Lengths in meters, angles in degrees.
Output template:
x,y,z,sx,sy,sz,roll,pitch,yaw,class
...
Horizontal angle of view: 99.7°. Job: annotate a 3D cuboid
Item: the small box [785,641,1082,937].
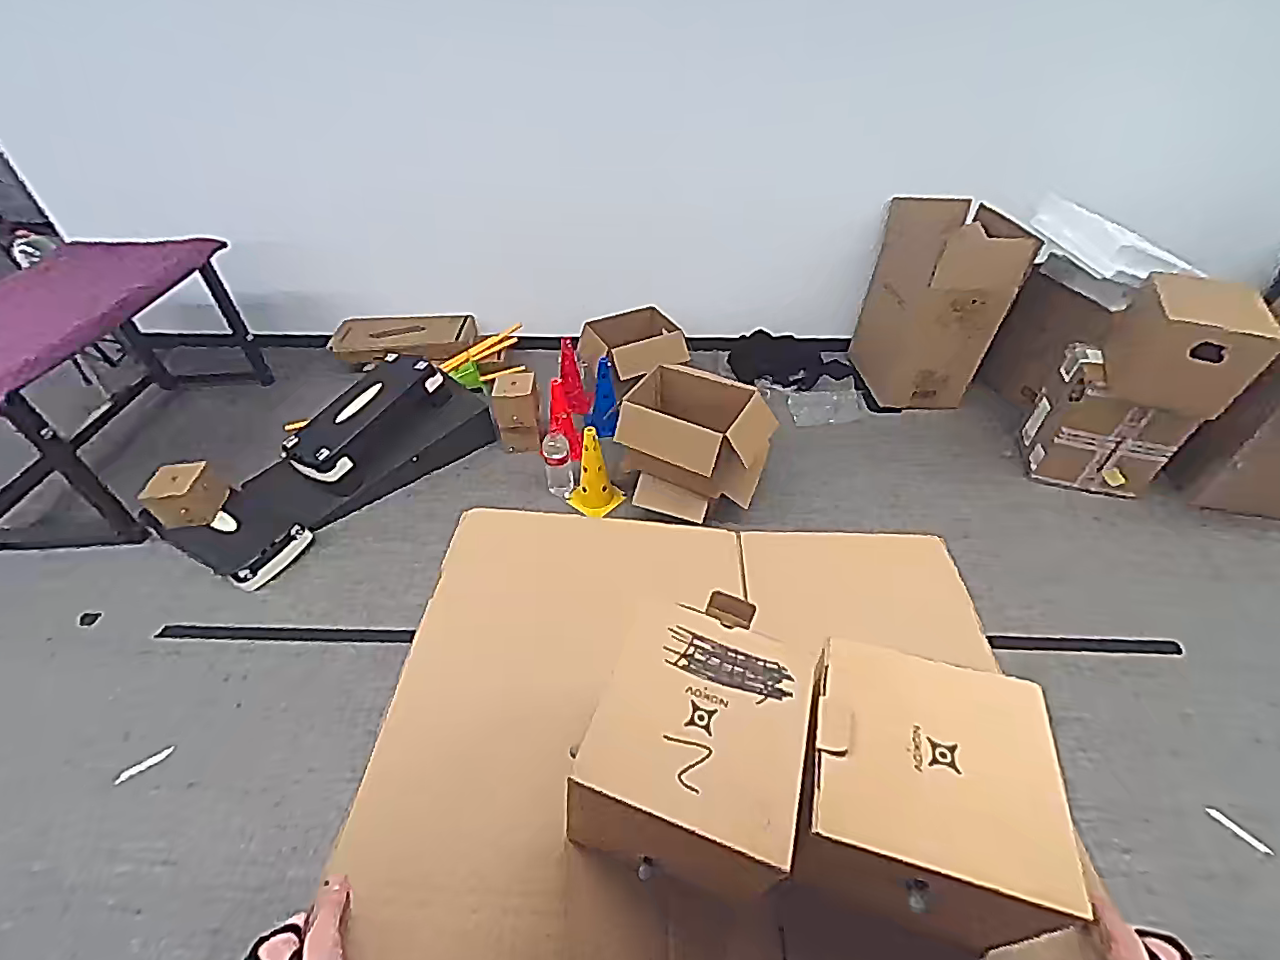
x,y,z,sx,sy,sz,roll,pitch,yaw,class
0.238,0.277,0.485,0.179,0.176,0.168,10,45,15,small box
